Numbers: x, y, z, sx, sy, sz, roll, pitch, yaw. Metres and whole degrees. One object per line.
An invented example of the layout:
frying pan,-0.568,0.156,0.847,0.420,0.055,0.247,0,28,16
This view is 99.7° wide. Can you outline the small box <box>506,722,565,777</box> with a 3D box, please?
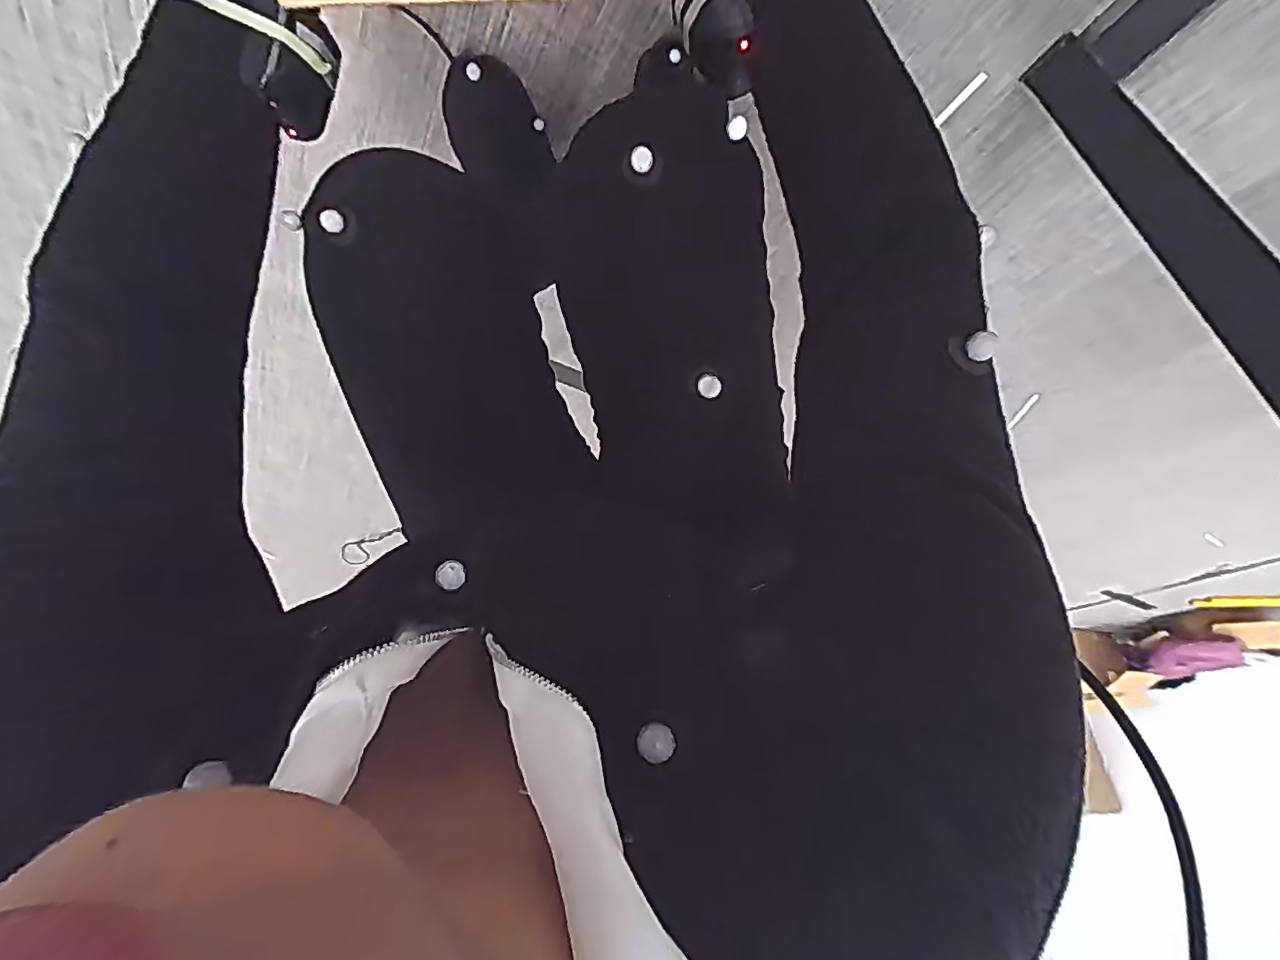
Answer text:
small box,-0.385,1.000,2.001,0.179,0.176,0.168,13,143,-21
